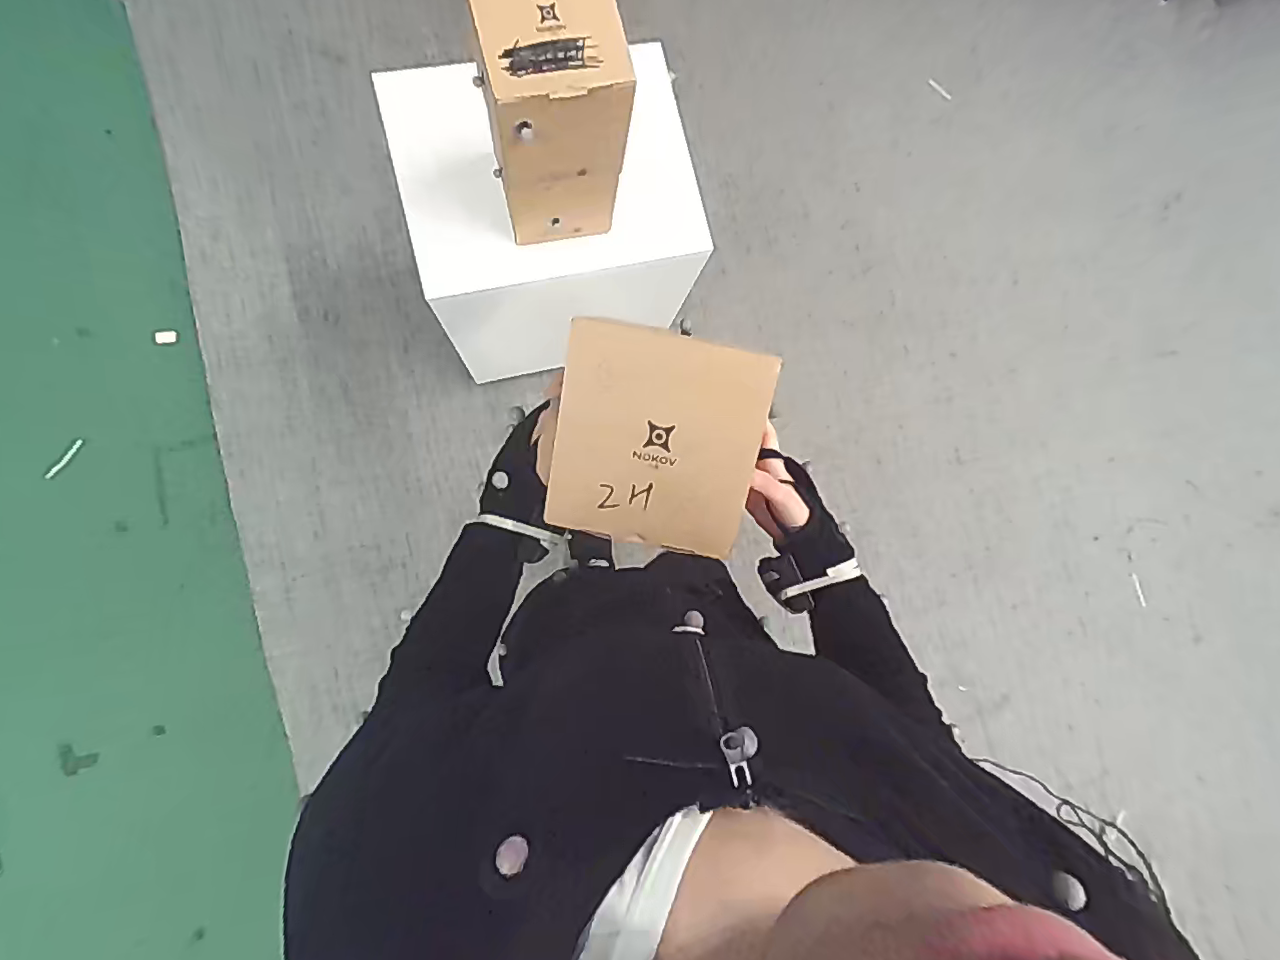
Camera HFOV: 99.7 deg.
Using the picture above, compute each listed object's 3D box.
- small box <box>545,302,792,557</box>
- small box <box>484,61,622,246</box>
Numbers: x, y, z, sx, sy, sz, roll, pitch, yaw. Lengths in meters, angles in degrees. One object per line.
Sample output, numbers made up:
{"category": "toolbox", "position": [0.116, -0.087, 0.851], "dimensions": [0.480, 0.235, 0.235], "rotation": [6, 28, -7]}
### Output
{"category": "small box", "position": [0.022, -0.055, 0.497], "dimensions": [0.168, 0.176, 0.179], "rotation": [12, 106, 1]}
{"category": "small box", "position": [-0.135, -0.497, 0.840], "dimensions": [0.168, 0.176, 0.179], "rotation": [-13, 86, -9]}
